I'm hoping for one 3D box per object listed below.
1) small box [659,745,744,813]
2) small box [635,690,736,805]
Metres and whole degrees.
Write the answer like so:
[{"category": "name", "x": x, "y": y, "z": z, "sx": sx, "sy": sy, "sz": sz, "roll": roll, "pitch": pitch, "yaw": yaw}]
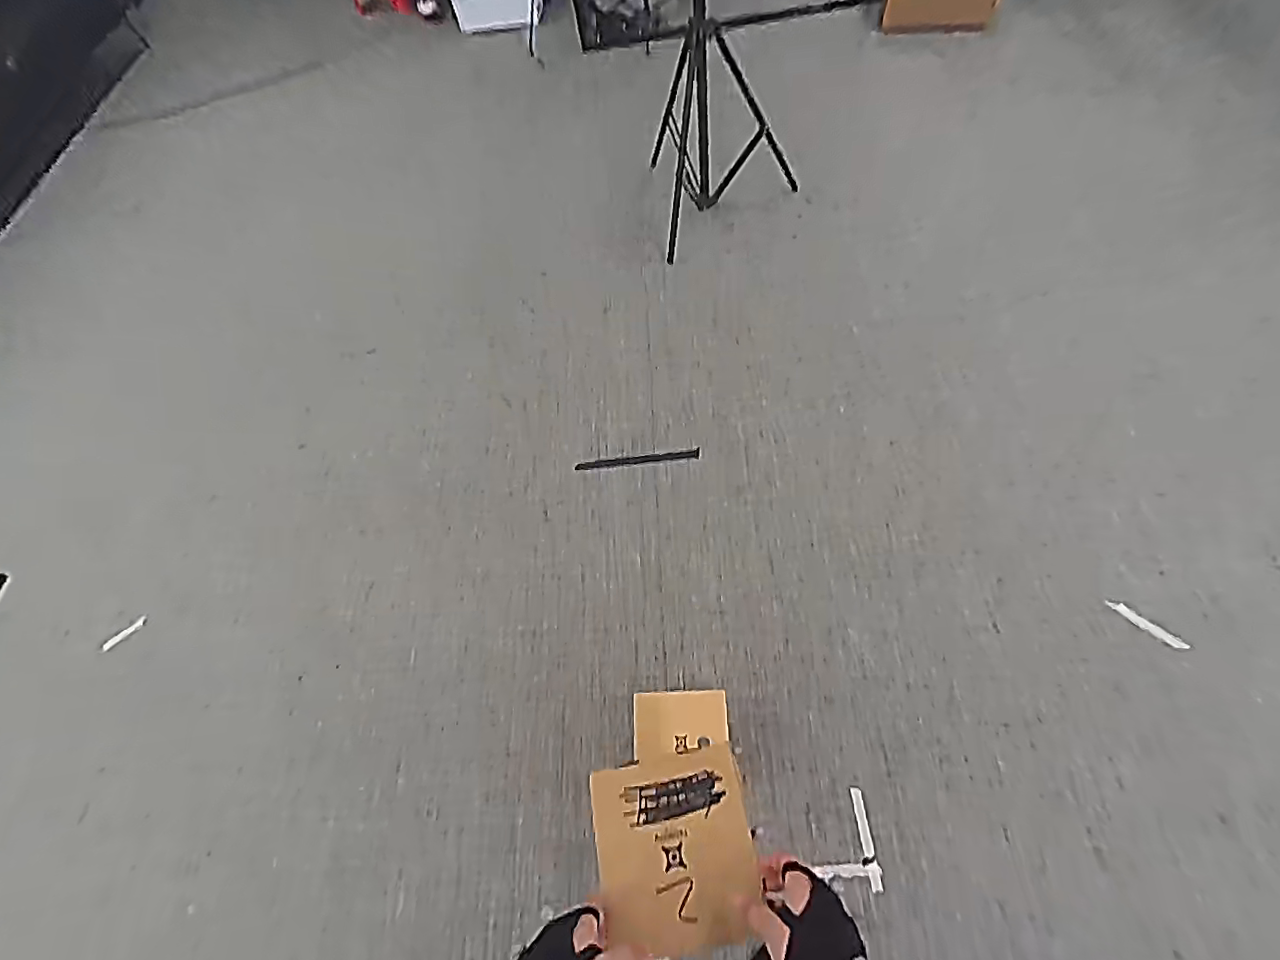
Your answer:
[{"category": "small box", "x": 0.109, "y": 0.572, "z": 1.123, "sx": 0.168, "sy": 0.176, "sz": 0.179, "roll": -16, "pitch": 61, "yaw": 0}, {"category": "small box", "x": 0.081, "y": 0.489, "z": 0.985, "sx": 0.168, "sy": 0.176, "sz": 0.179, "roll": -4, "pitch": 61, "yaw": 6}]
